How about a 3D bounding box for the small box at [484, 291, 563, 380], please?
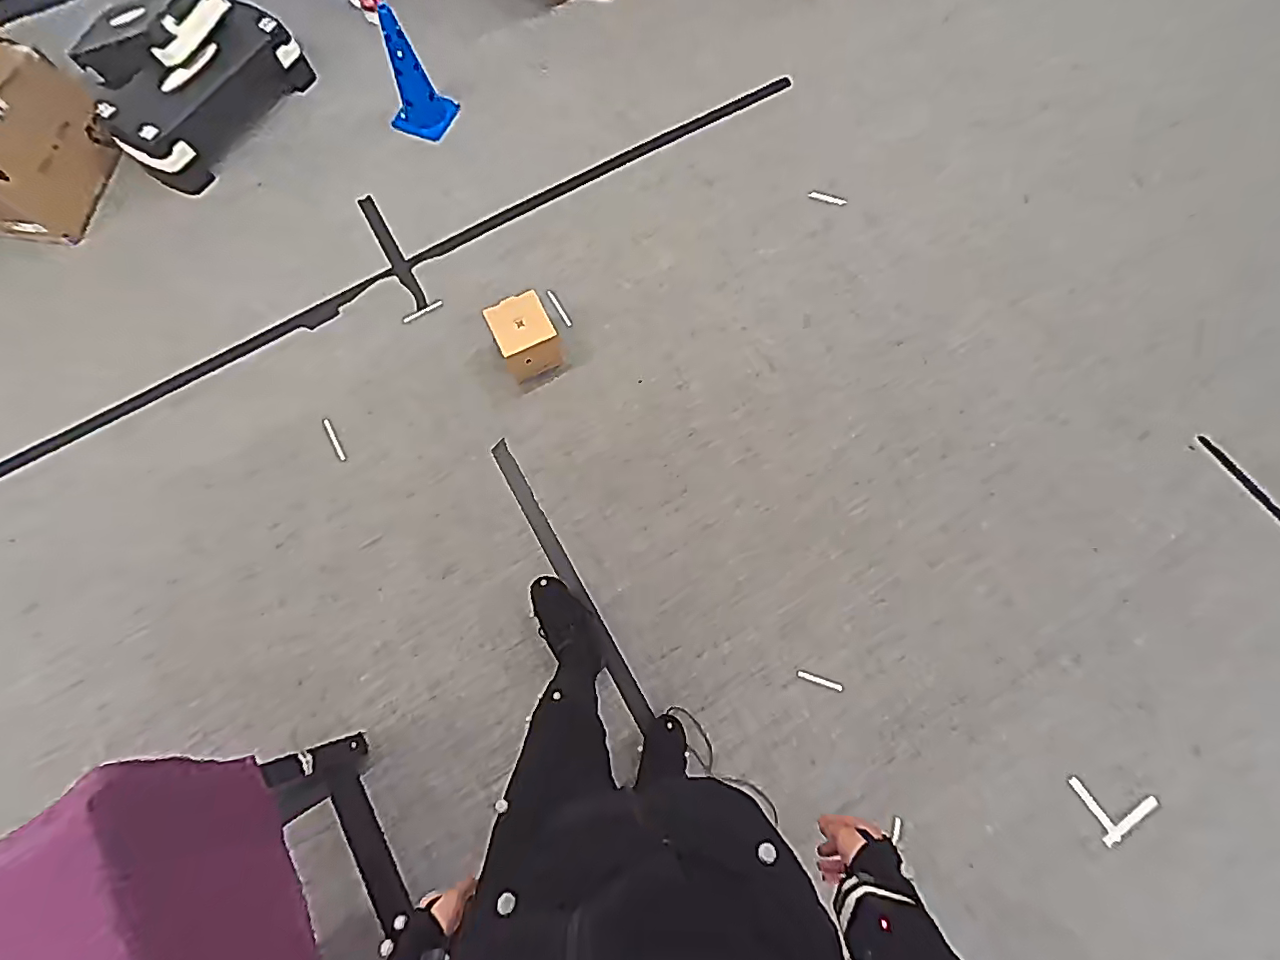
[{"bbox_3d":[-0.346,-0.427,1.637,0.168,0.176,0.179,-26,74,-7],"label":"small box"}]
